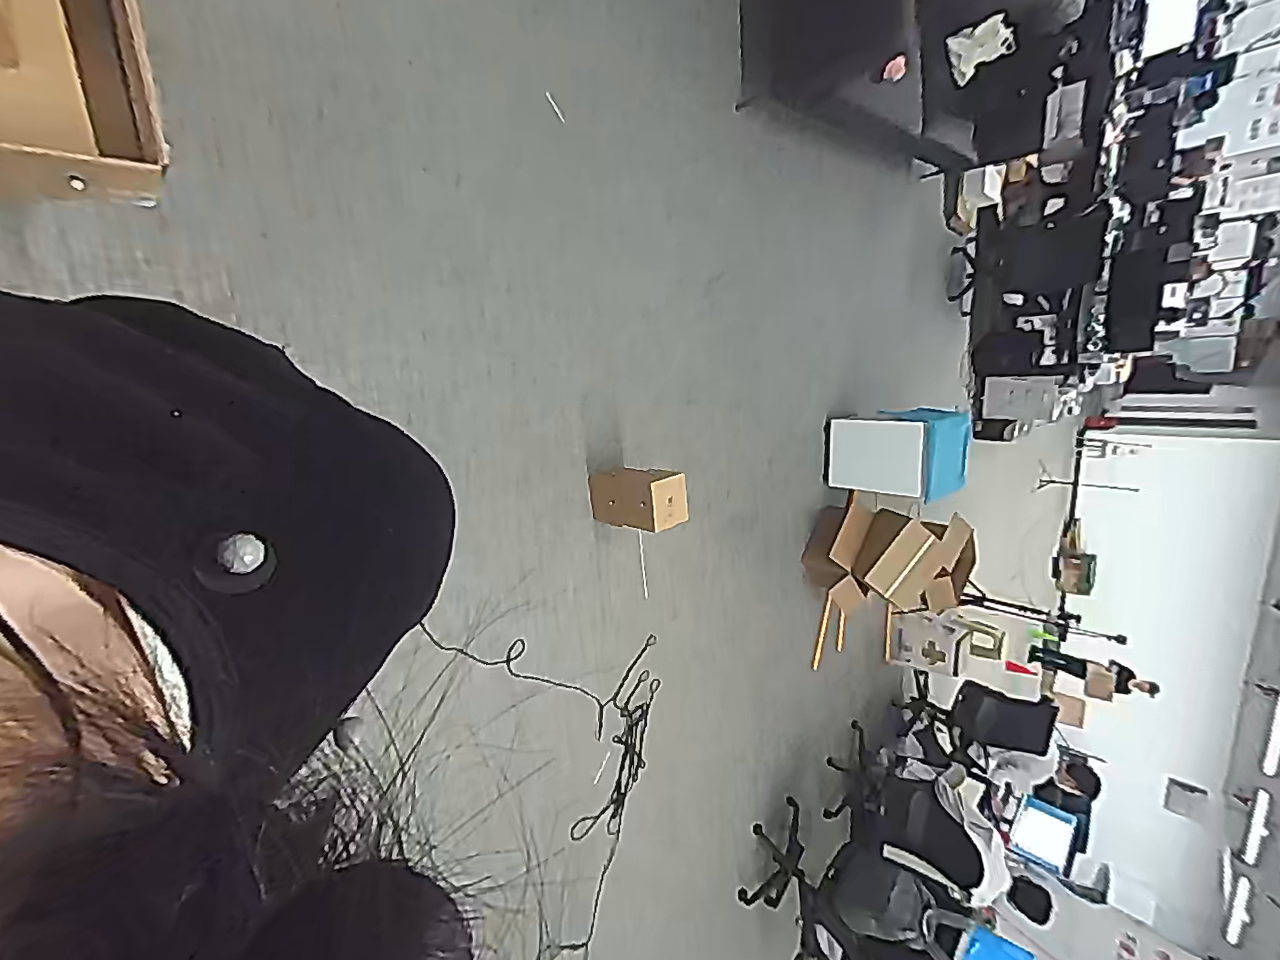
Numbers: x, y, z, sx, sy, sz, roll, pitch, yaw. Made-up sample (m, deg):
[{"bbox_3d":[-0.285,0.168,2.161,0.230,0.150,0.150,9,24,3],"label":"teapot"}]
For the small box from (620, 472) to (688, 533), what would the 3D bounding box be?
[{"bbox_3d":[0.044,0.070,1.871,0.168,0.176,0.179,-16,107,-40],"label":"small box"}]

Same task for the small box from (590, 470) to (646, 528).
[{"bbox_3d":[-0.068,0.063,1.991,0.168,0.176,0.179,-17,108,-41],"label":"small box"}]
